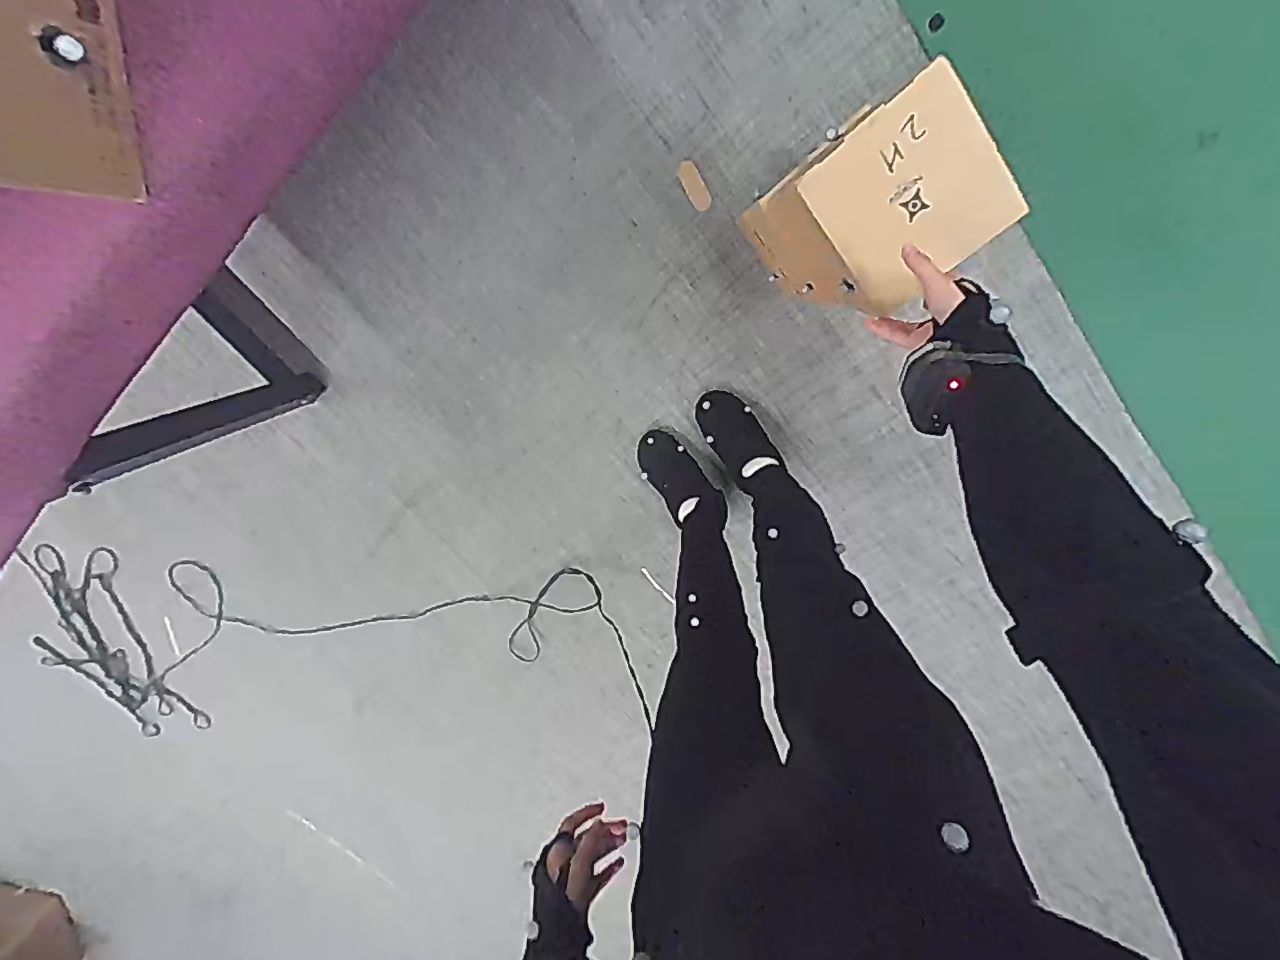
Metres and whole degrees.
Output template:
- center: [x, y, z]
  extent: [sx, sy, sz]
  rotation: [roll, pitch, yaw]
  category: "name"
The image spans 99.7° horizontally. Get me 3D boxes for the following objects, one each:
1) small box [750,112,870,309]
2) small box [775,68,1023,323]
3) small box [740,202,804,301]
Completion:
- center: [0.275, -0.371, 0.773]
  extent: [0.168, 0.176, 0.179]
  rotation: [-37, 105, 18]
  category: "small box"
- center: [0.278, -0.310, 0.620]
  extent: [0.168, 0.176, 0.179]
  rotation: [-36, 105, 17]
  category: "small box"
- center: [0.285, -0.430, 0.924]
  extent: [0.179, 0.176, 0.168]
  rotation: [-35, 105, 17]
  category: "small box"
